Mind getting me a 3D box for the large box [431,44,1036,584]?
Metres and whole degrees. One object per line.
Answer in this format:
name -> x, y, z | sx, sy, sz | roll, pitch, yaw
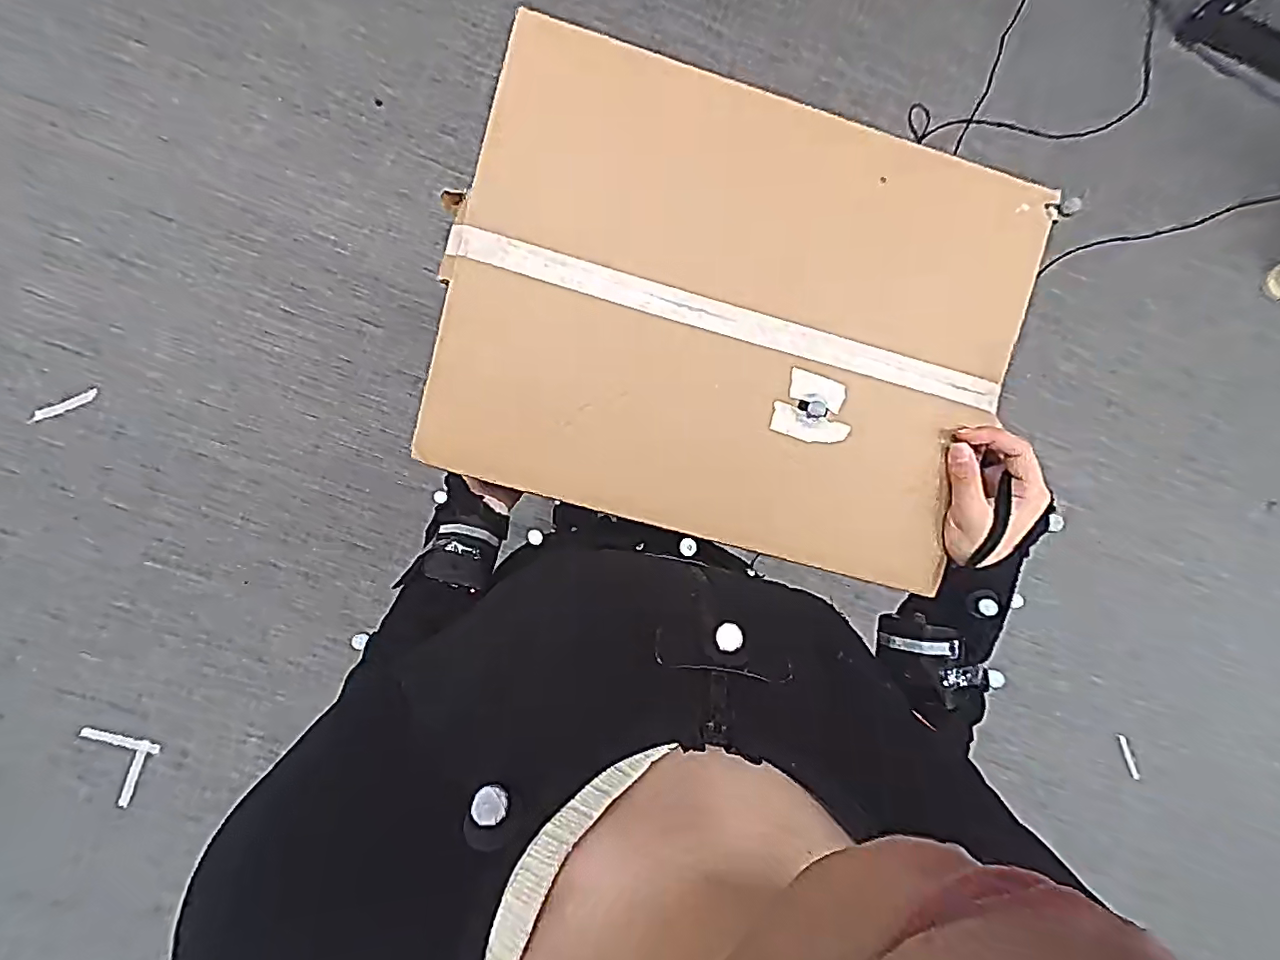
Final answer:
large box -> 0.060, -0.120, 0.545 | 0.408, 0.320, 0.320 | 14, 94, -6
